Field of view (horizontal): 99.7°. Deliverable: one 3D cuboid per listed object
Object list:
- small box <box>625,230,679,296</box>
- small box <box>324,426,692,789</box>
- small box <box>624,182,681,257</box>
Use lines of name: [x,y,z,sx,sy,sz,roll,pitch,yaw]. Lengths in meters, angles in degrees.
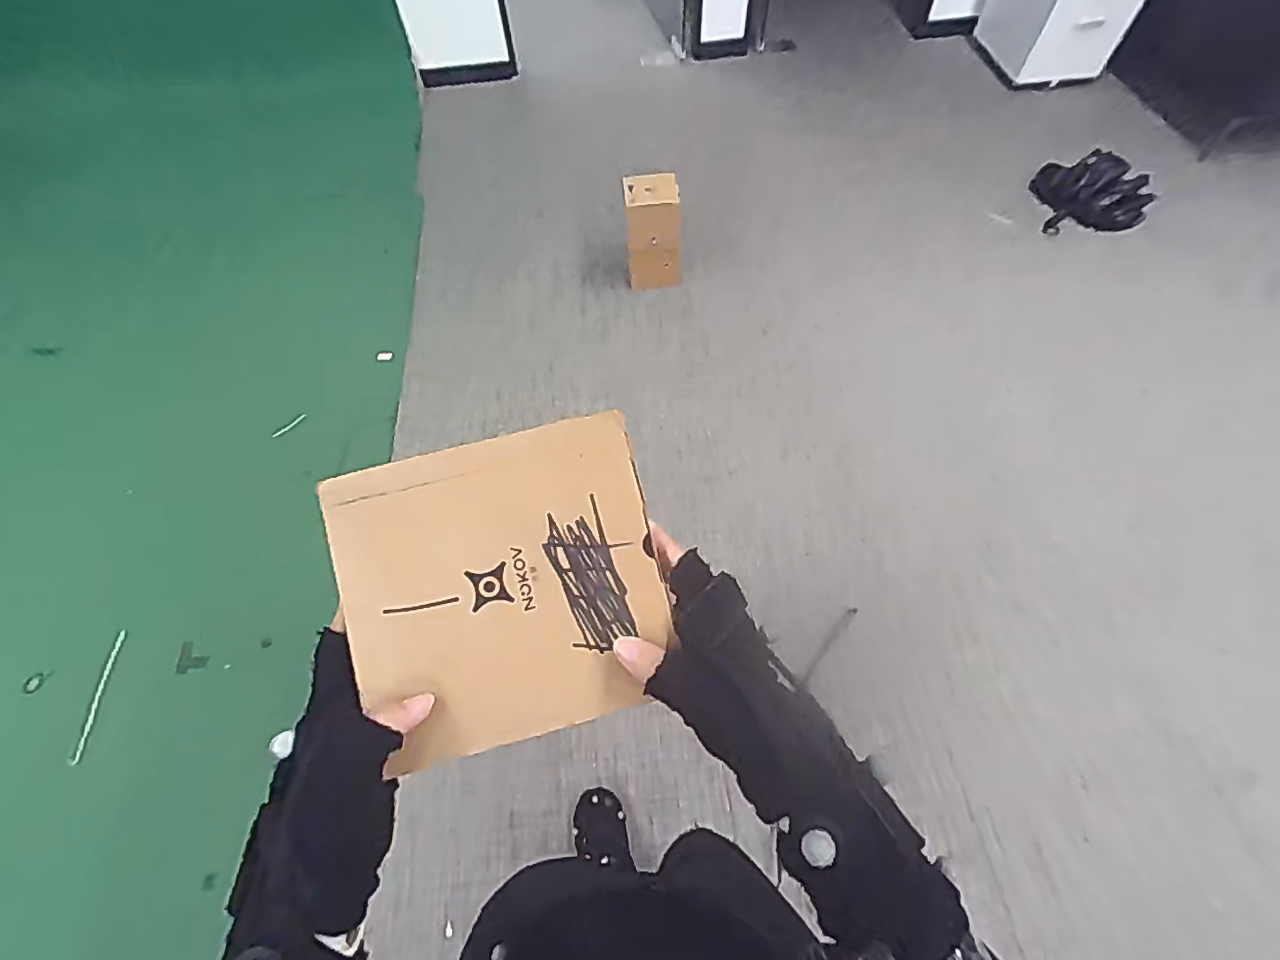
small box: [0.044,-0.801,1.975,0.179,0.176,0.168,-8,59,-1]
small box: [-0.082,0.075,0.386,0.179,0.176,0.168,-16,84,-7]
small box: [0.039,-0.878,1.831,0.179,0.176,0.168,-4,59,-1]
